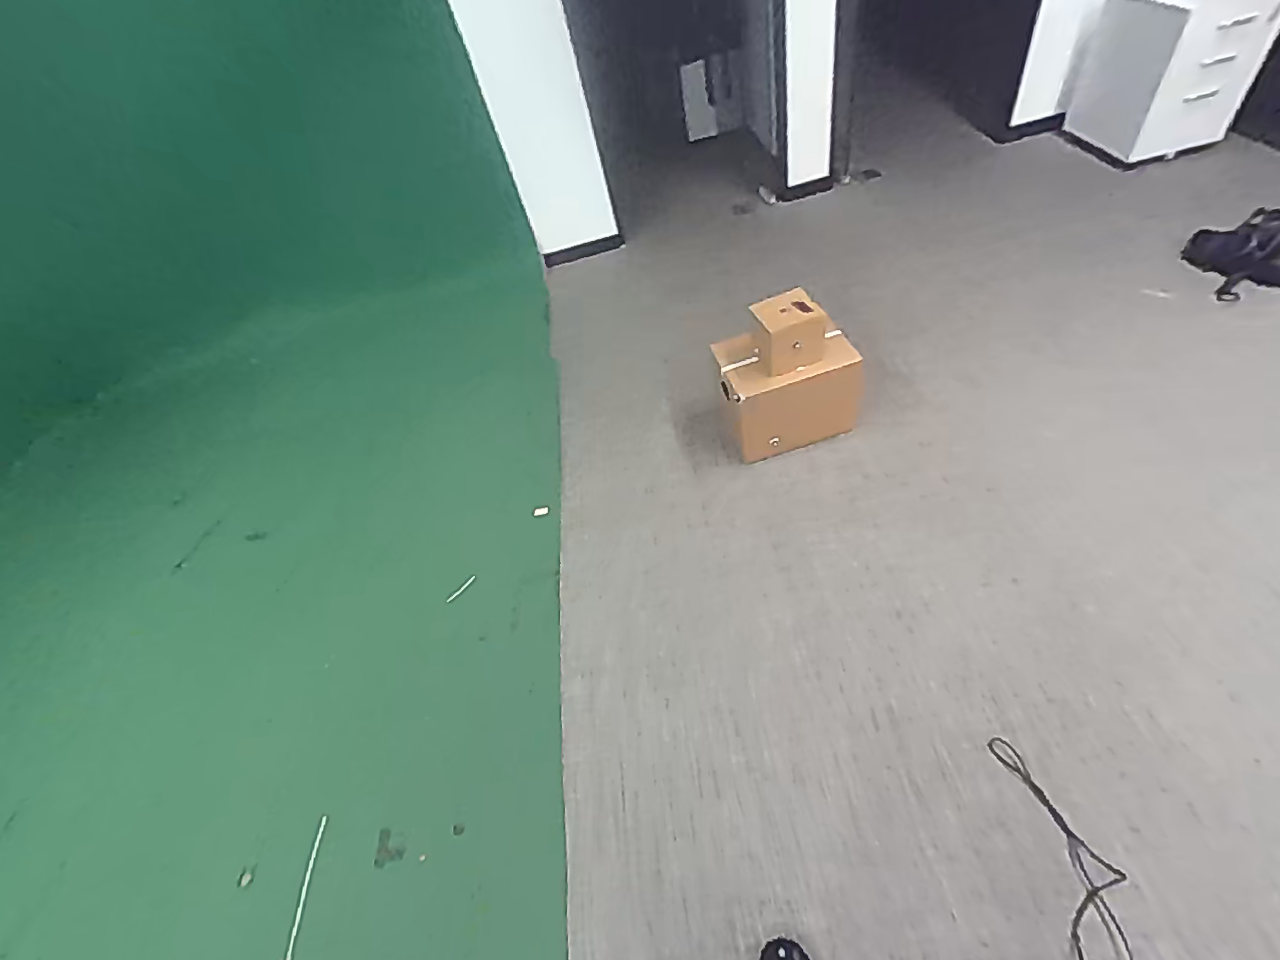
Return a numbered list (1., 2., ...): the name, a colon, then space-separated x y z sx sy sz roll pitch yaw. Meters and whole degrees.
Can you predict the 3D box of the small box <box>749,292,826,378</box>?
1. small box: 0.450 -0.445 1.671 0.179 0.176 0.168 -21 48 -4
